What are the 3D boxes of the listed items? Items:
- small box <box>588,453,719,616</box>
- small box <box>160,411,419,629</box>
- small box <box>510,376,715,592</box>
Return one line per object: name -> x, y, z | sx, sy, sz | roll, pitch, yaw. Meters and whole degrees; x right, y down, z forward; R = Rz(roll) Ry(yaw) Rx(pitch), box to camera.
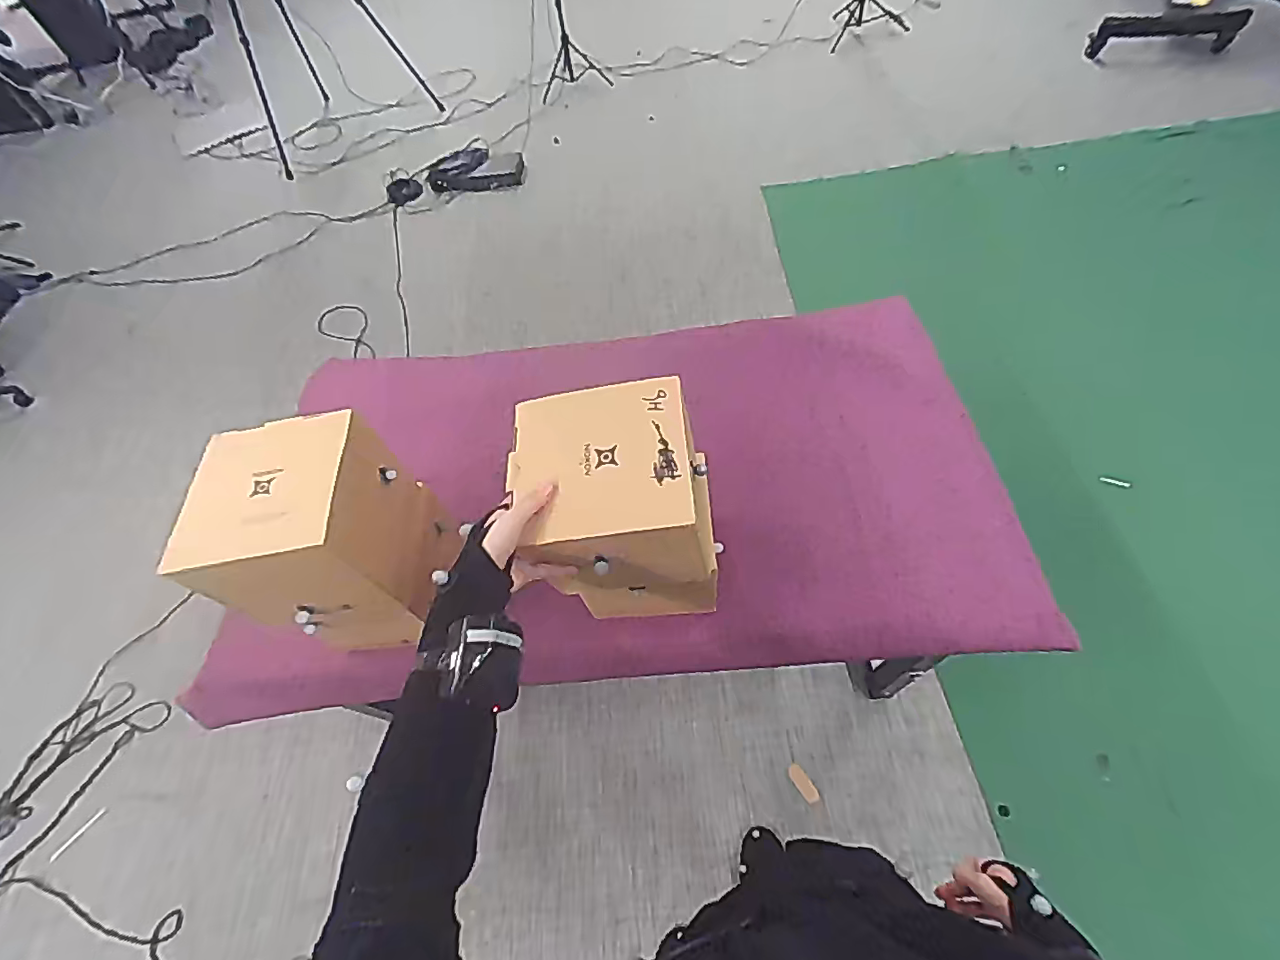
small box -> 0.014, 0.082, 0.738 | 0.179, 0.176, 0.168 | -4, 60, 4
small box -> -0.371, 0.050, 0.617 | 0.168, 0.176, 0.179 | -10, 56, 2
small box -> -0.021, 0.016, 0.582 | 0.179, 0.176, 0.168 | -8, 63, 9
